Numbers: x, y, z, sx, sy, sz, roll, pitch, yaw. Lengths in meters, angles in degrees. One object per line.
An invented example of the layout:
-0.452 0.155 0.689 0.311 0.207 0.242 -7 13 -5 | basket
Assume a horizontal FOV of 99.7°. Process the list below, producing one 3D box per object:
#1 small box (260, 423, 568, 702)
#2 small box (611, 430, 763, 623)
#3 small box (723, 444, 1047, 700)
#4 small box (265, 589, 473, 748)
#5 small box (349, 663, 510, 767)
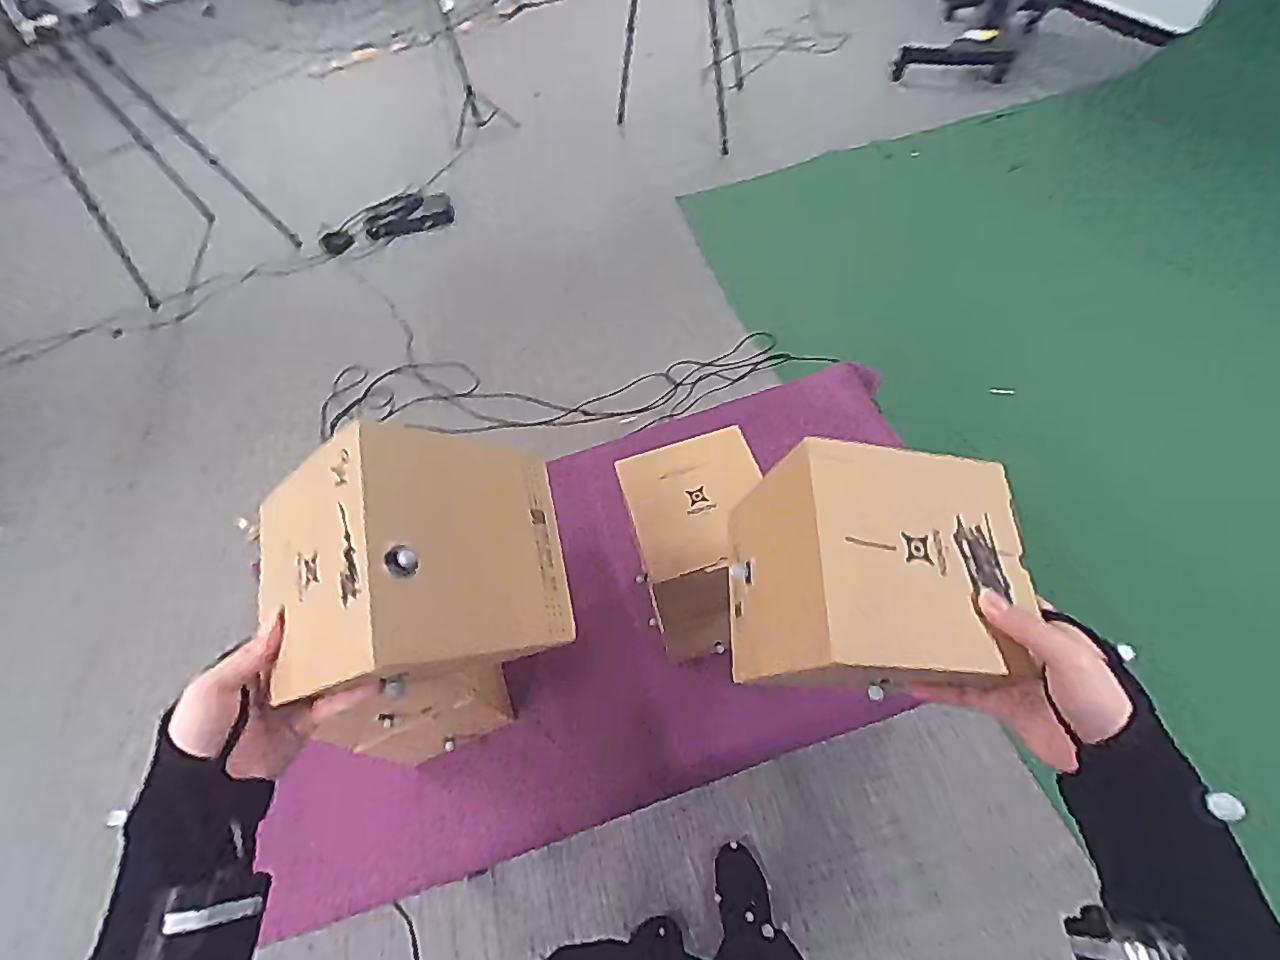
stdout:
-0.186 0.076 0.449 0.179 0.176 0.168 -26 67 33 | small box
0.073 0.070 0.703 0.168 0.176 0.179 -17 55 -3 | small box
0.182 0.090 0.459 0.179 0.176 0.168 8 63 -9 | small box
-0.331 0.205 0.675 0.168 0.176 0.179 -24 57 -8 | small box
-0.312 0.300 0.806 0.168 0.176 0.179 -22 56 -6 | small box
